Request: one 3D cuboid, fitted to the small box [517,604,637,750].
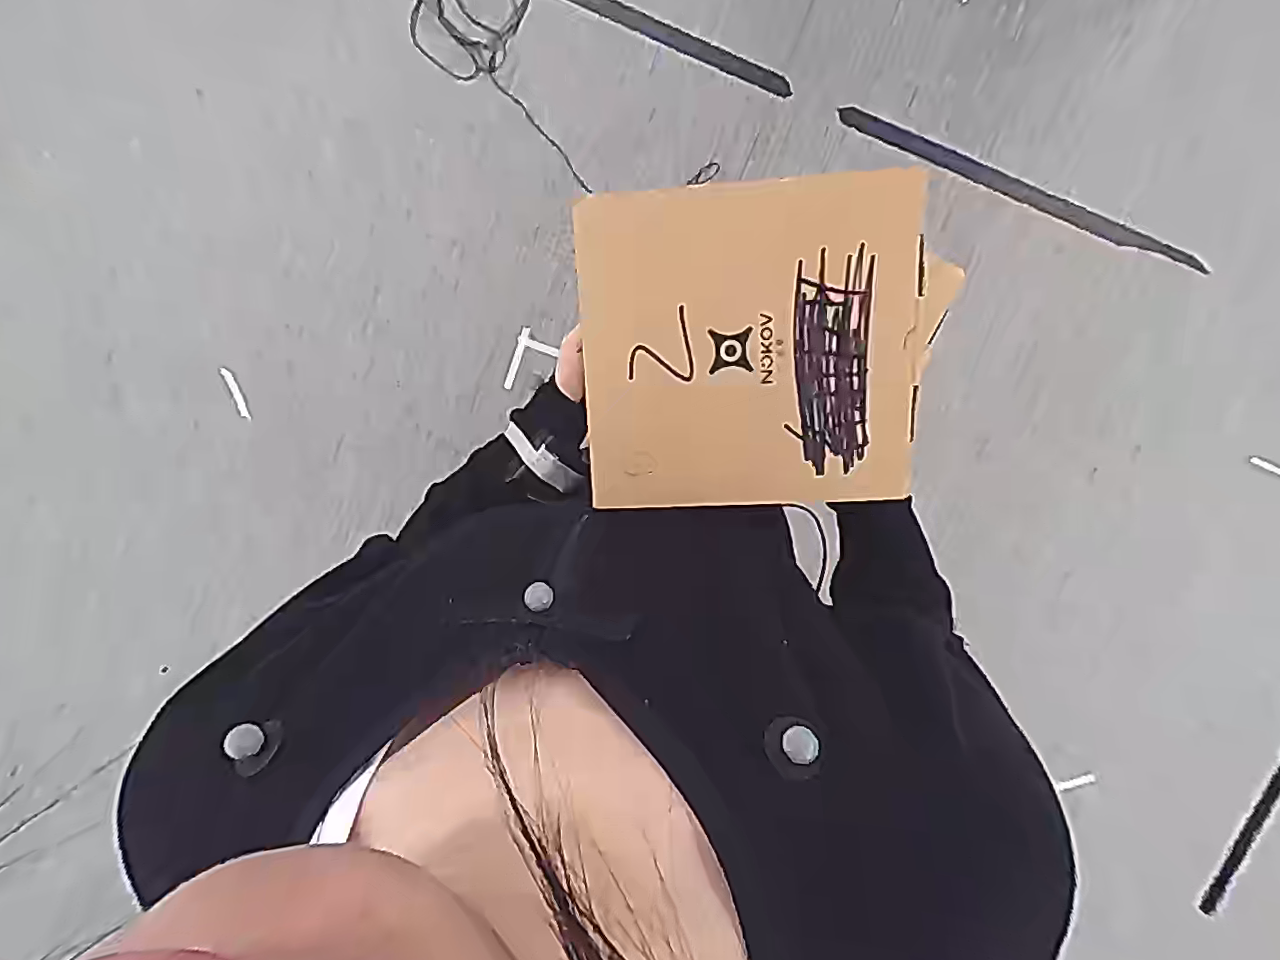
[{"bbox_3d":[-0.106,0.344,0.980,0.168,0.176,0.179,15,96,0],"label":"small box"}]

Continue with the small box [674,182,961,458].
[{"bbox_3d":[0.146,-0.141,0.517,0.179,0.176,0.168,25,100,-5],"label":"small box"}]
